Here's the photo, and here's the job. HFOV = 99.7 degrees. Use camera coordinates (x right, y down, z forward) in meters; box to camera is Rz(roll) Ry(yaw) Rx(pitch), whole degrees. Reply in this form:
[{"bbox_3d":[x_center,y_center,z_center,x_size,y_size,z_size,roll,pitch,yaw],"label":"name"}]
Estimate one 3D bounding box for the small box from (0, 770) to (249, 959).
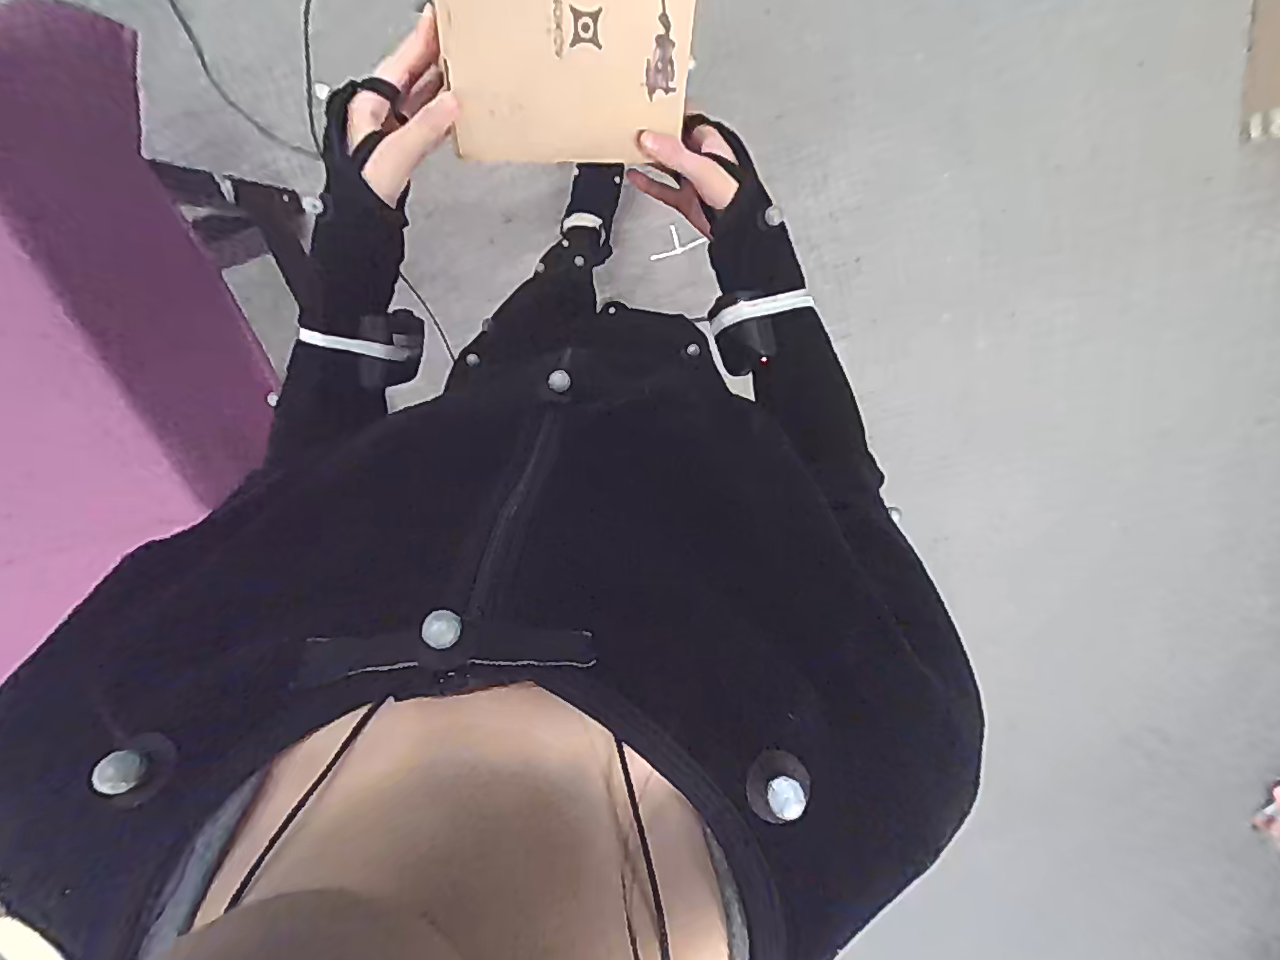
[{"bbox_3d":[-0.665,0.516,0.709,0.179,0.176,0.168,-19,110,9],"label":"small box"}]
